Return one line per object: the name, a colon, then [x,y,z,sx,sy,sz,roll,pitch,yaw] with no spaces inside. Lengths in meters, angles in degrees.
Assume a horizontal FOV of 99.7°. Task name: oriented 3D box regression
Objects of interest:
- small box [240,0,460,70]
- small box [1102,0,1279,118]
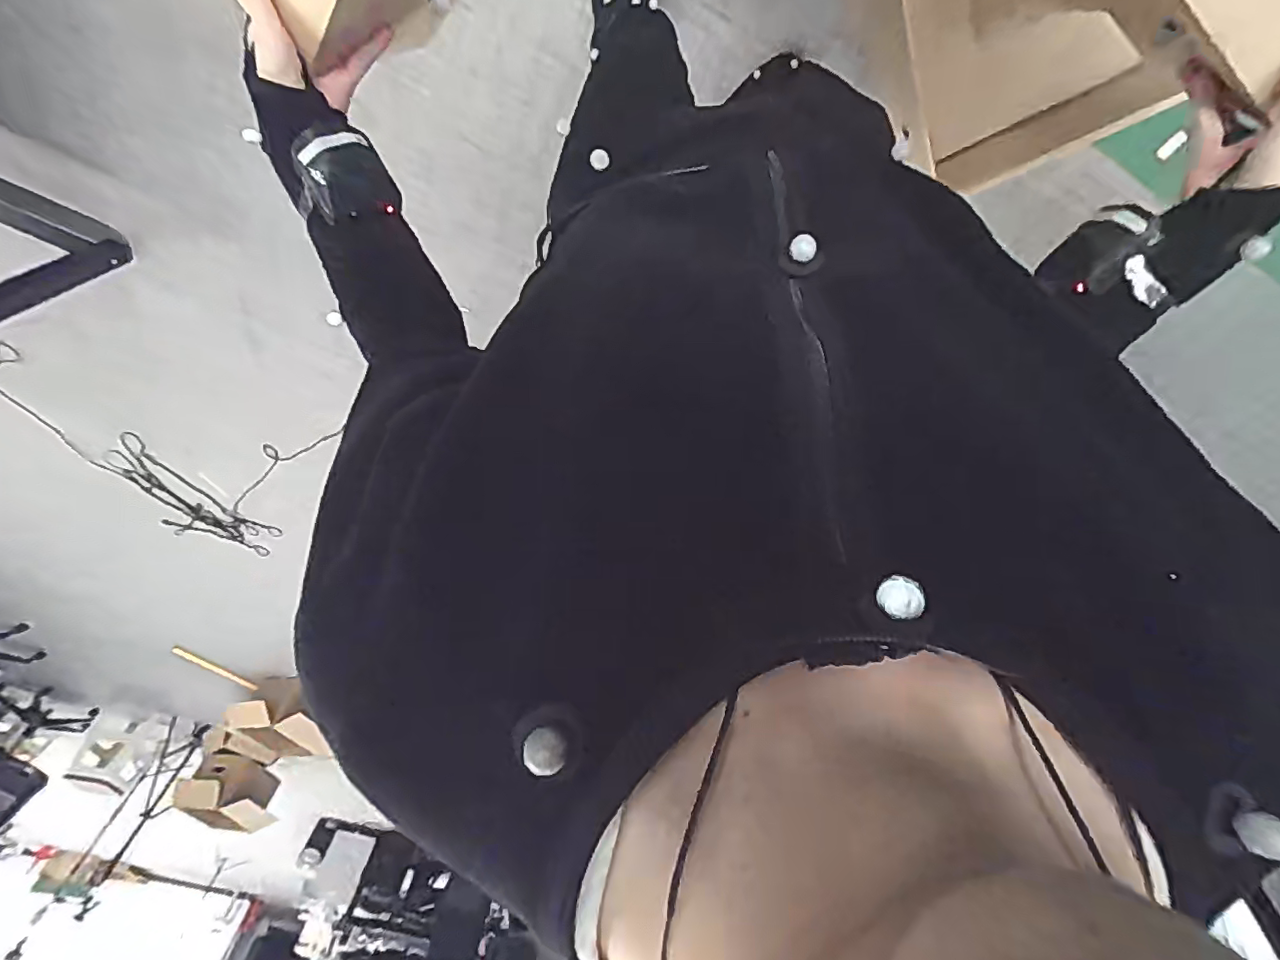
small box: [-0.237,-0.465,0.411,0.168,0.176,0.179,-20,120,41]
small box: [0.420,-0.383,0.346,0.179,0.176,0.168,31,134,-16]
